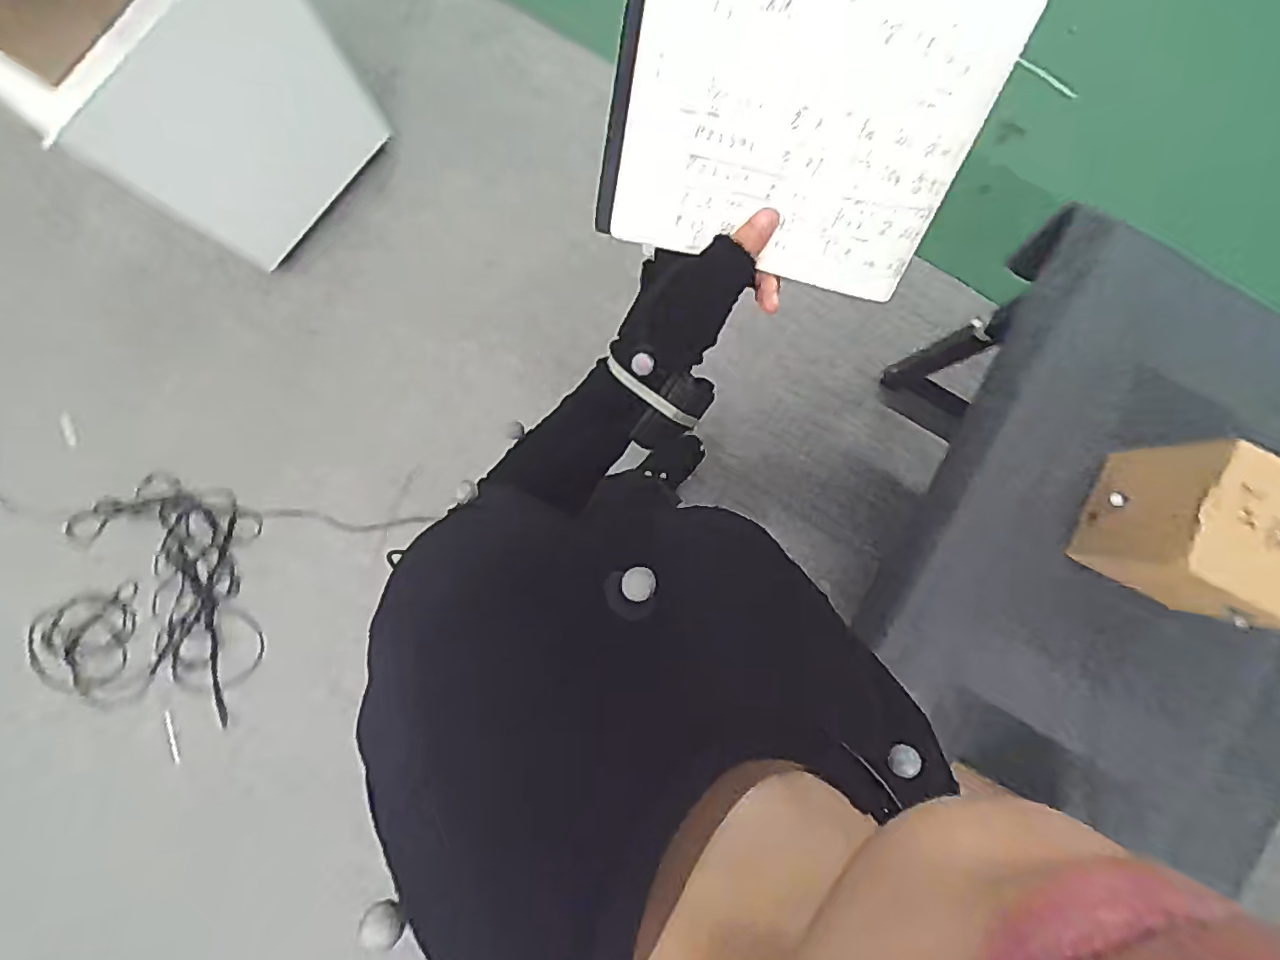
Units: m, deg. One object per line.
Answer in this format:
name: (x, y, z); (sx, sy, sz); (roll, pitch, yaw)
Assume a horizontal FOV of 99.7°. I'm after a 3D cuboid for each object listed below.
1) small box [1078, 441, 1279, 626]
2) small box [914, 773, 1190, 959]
small box: (0.726, 0.067, 0.685); (0.179, 0.176, 0.168); (27, 87, 0)
small box: (0.481, 0.498, 0.662); (0.179, 0.176, 0.168); (31, 87, 0)
